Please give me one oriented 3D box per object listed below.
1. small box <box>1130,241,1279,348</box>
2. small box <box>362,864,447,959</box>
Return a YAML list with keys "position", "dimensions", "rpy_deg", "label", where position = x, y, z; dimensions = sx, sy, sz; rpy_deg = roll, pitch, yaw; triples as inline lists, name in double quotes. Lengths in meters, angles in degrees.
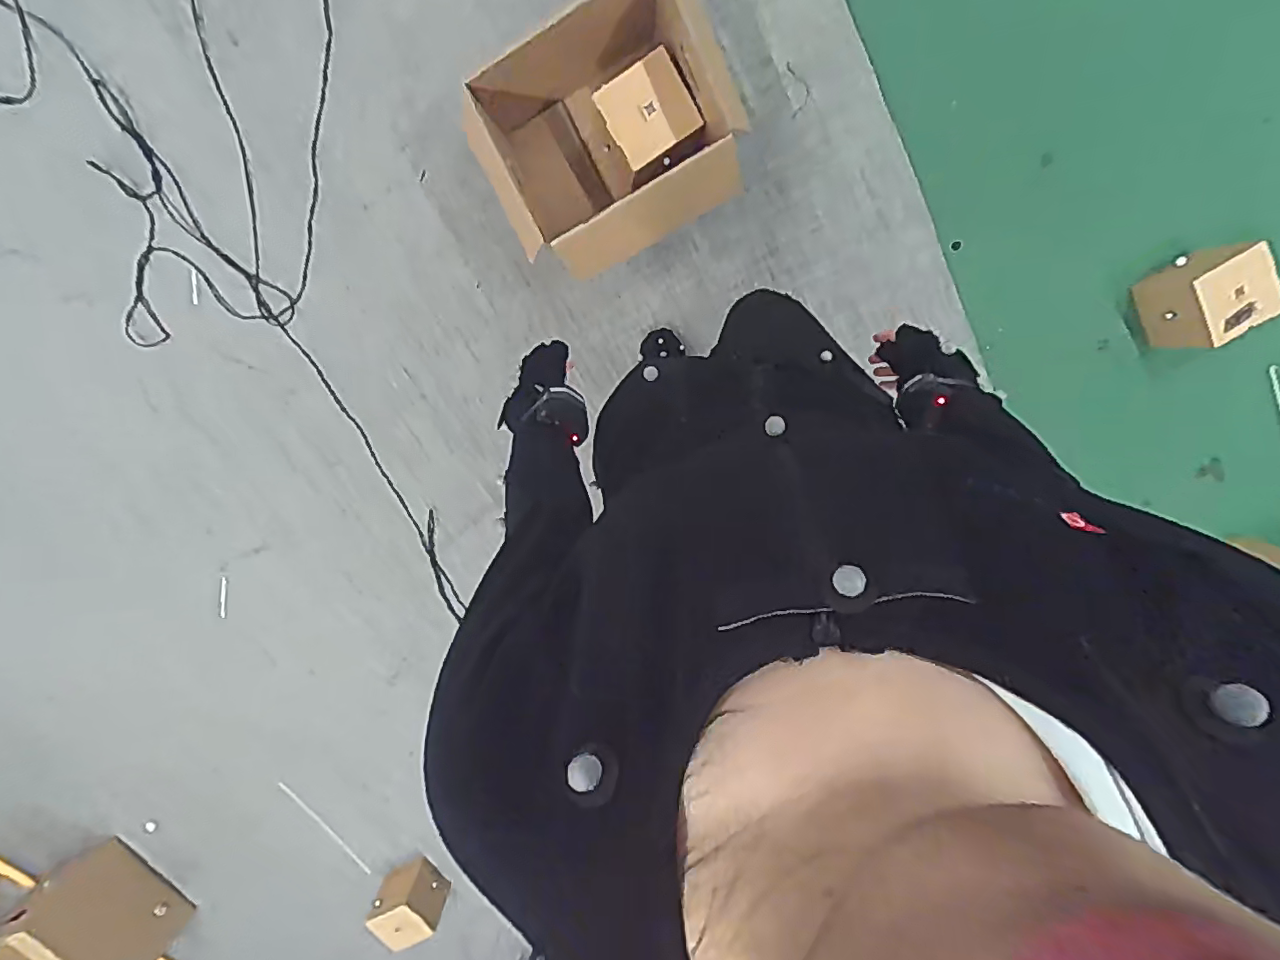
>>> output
- position: [1.339, -0.437, 1.288]
  dimensions: [0.168, 0.176, 0.179]
  rpy_deg: [-32, 103, 9]
  label: "small box"
- position: [-0.795, 1.468, 1.845]
  dimensions: [0.179, 0.176, 0.168]
  rpy_deg: [-31, 105, 8]
  label: "small box"
